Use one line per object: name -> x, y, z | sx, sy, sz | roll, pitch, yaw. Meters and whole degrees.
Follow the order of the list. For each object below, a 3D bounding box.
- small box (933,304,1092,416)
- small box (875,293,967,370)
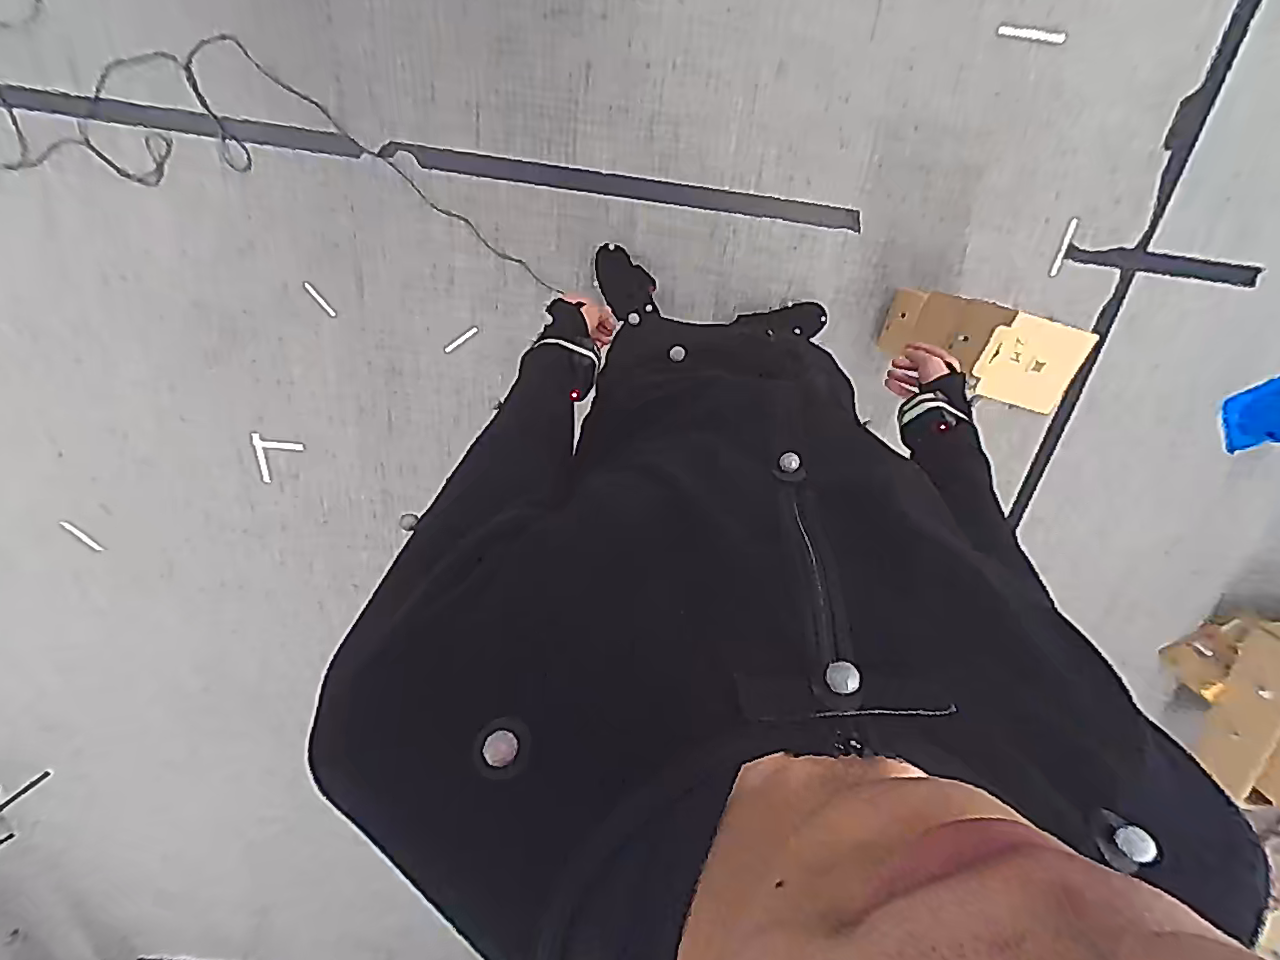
small box -> 0.762, -0.257, 1.128 | 0.179, 0.176, 0.168 | 15, 116, -6
small box -> 0.754, -0.392, 1.430 | 0.179, 0.176, 0.168 | 10, 116, -4
